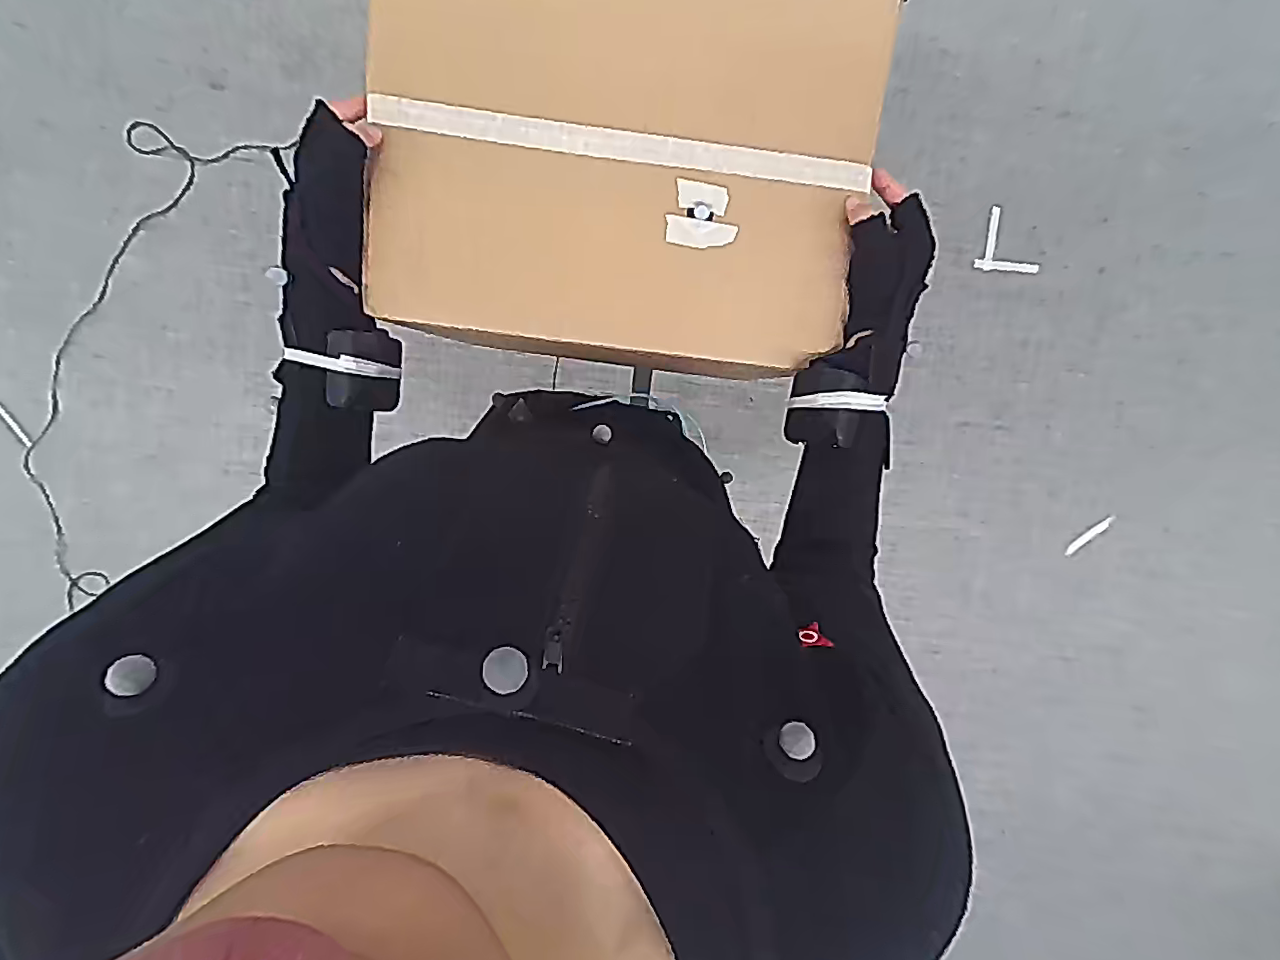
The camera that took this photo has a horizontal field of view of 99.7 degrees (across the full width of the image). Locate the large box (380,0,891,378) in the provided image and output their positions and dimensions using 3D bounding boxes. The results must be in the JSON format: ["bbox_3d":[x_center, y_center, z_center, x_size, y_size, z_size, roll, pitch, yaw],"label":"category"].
[{"bbox_3d":[-0.018,-0.289,0.592,0.408,0.320,0.320,6,100,-4],"label":"large box"}]
